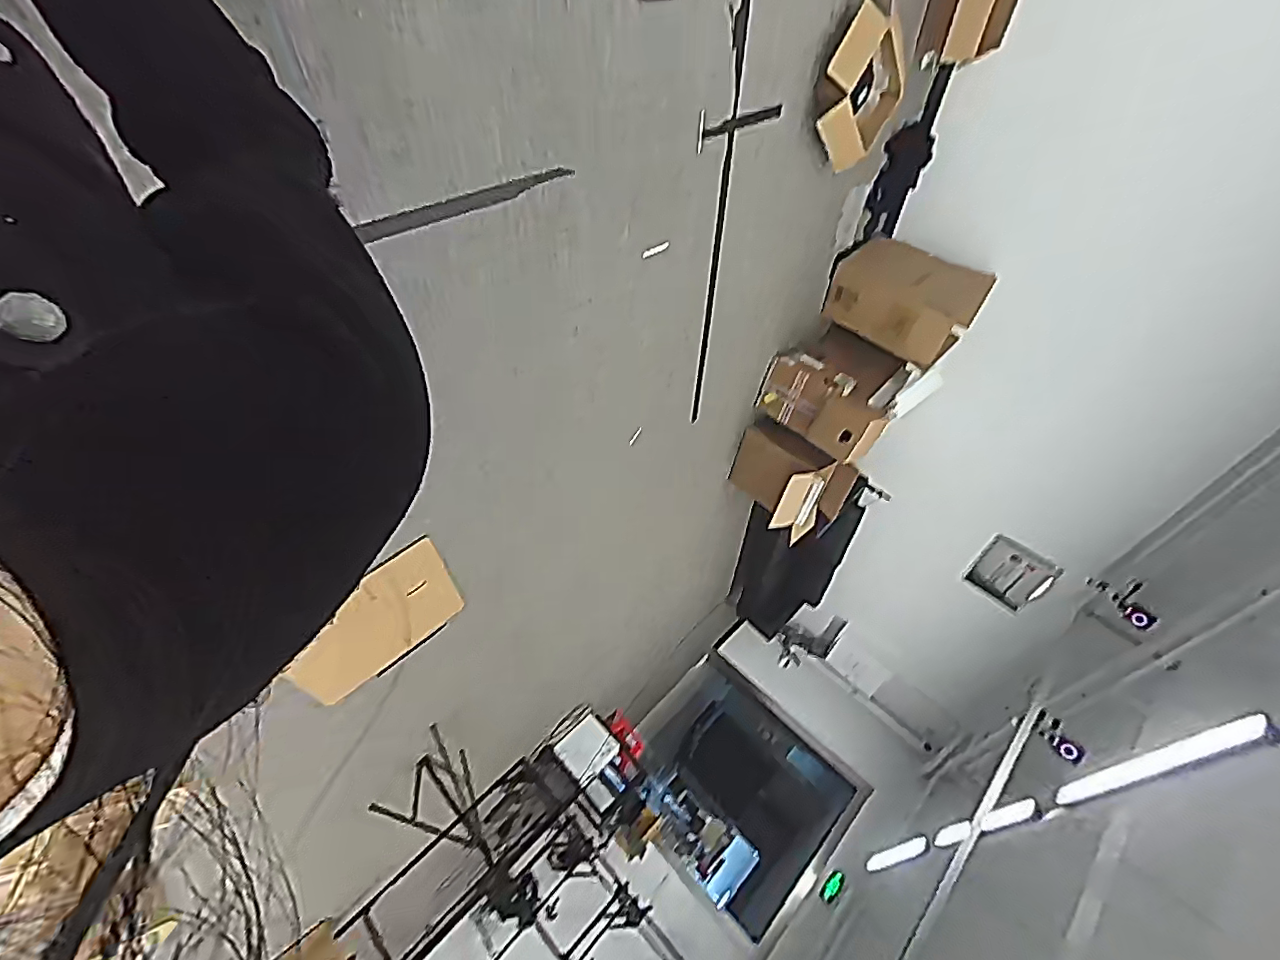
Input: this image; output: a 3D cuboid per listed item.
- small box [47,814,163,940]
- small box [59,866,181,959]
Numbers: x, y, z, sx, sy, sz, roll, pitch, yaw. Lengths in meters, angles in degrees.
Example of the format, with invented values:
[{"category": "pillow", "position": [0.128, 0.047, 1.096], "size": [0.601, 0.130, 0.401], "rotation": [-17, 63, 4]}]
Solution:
[{"category": "small box", "position": [-1.418, 1.036, 1.428], "size": [0.179, 0.176, 0.168], "rotation": [-58, 152, 8]}, {"category": "small box", "position": [-1.304, 1.127, 1.352], "size": [0.179, 0.176, 0.168], "rotation": [-56, 152, 9]}]
